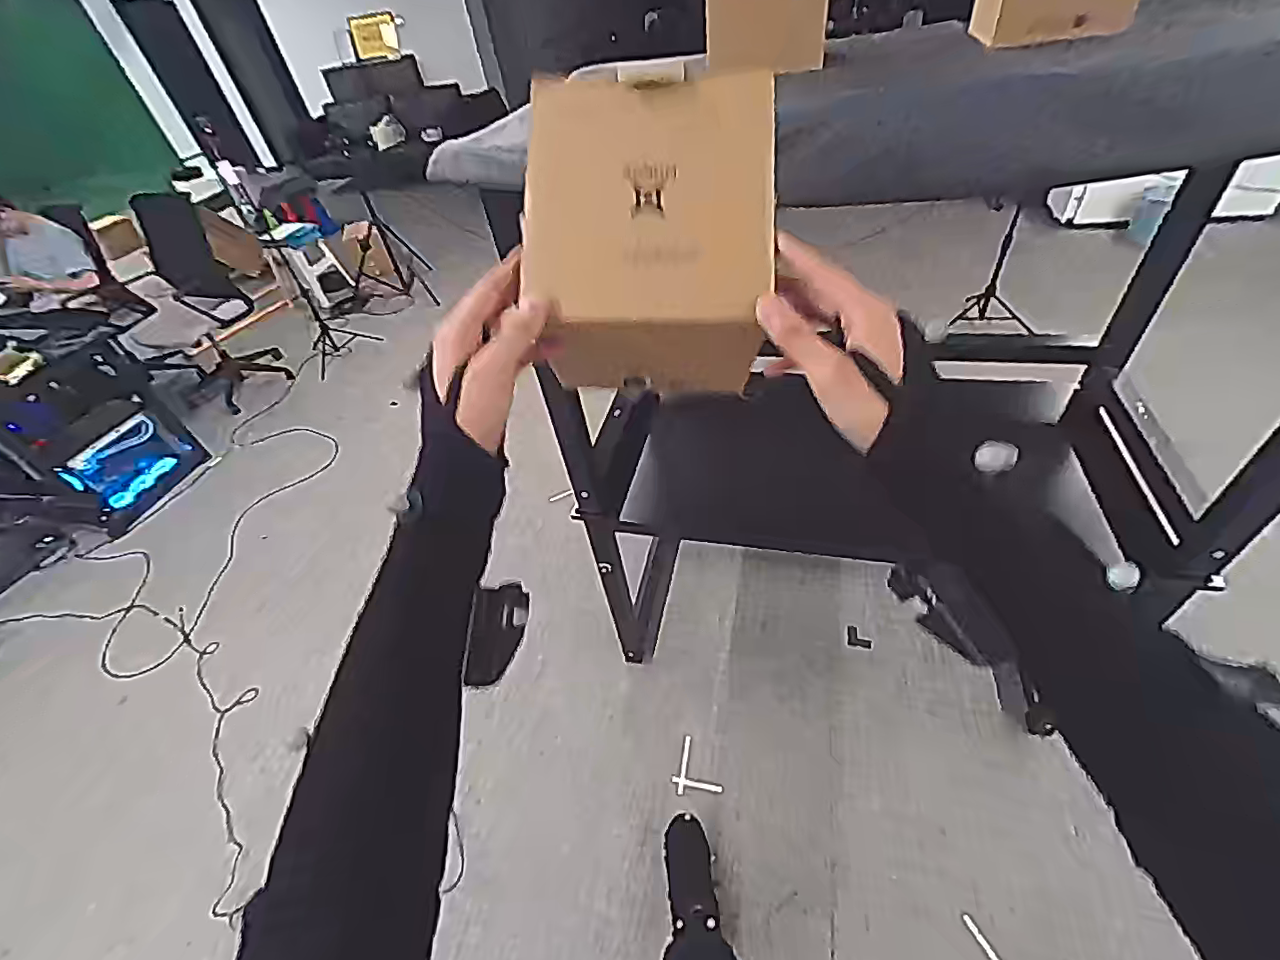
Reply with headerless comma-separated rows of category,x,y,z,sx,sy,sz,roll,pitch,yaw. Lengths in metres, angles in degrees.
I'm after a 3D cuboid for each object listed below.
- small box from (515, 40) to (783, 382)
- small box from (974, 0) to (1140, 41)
small box,0.011,-0.188,0.419,0.168,0.176,0.179,1,83,4
small box,0.583,-0.722,0.739,0.168,0.176,0.179,4,45,15
